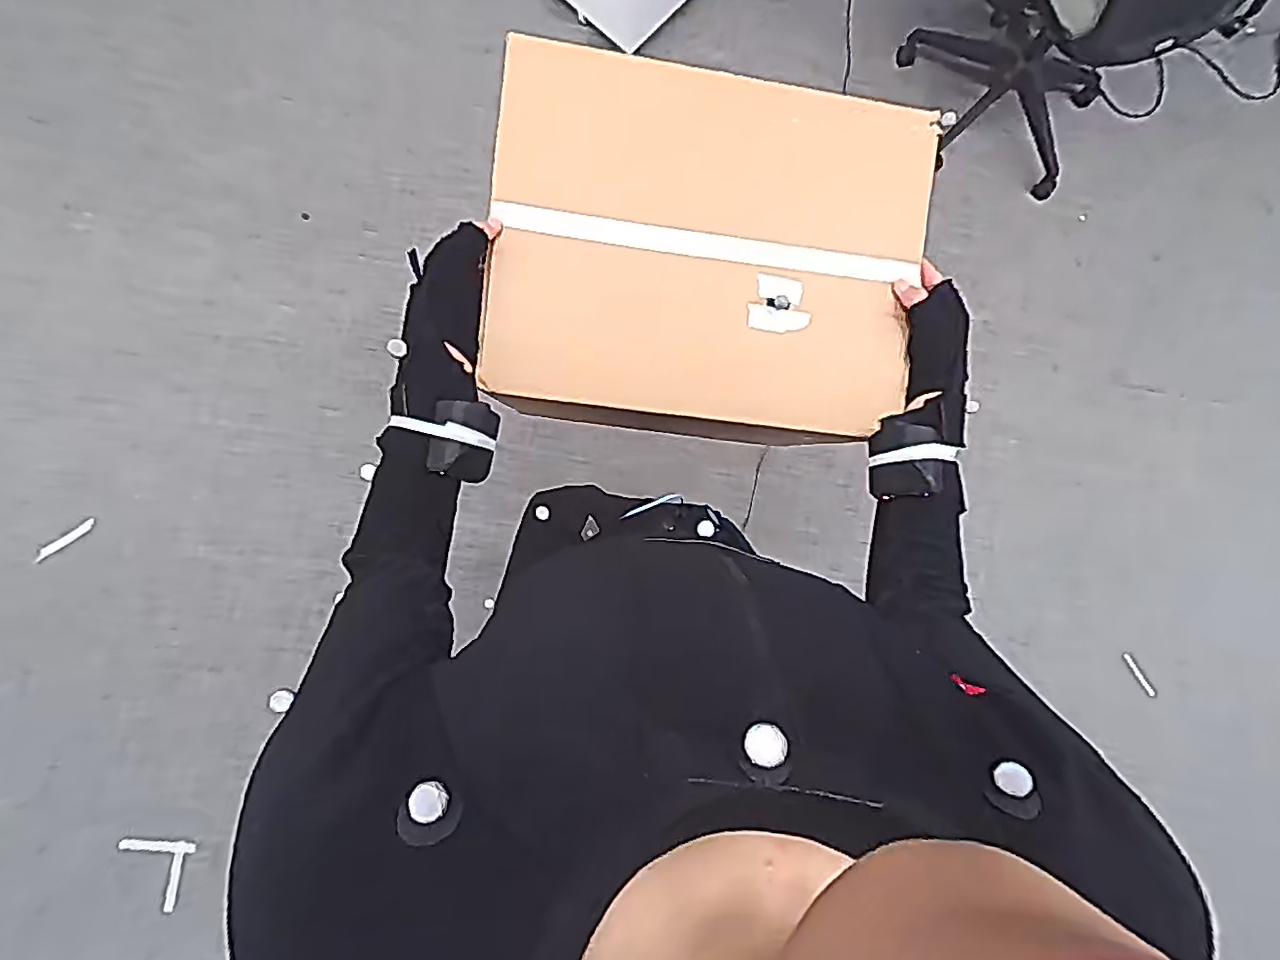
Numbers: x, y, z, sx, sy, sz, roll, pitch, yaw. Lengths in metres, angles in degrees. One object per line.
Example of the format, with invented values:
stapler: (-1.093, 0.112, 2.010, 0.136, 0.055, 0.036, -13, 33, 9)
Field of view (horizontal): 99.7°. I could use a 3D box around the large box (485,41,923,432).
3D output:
large box: (0.049, -0.234, 0.659, 0.408, 0.320, 0.320, 6, 94, -7)
